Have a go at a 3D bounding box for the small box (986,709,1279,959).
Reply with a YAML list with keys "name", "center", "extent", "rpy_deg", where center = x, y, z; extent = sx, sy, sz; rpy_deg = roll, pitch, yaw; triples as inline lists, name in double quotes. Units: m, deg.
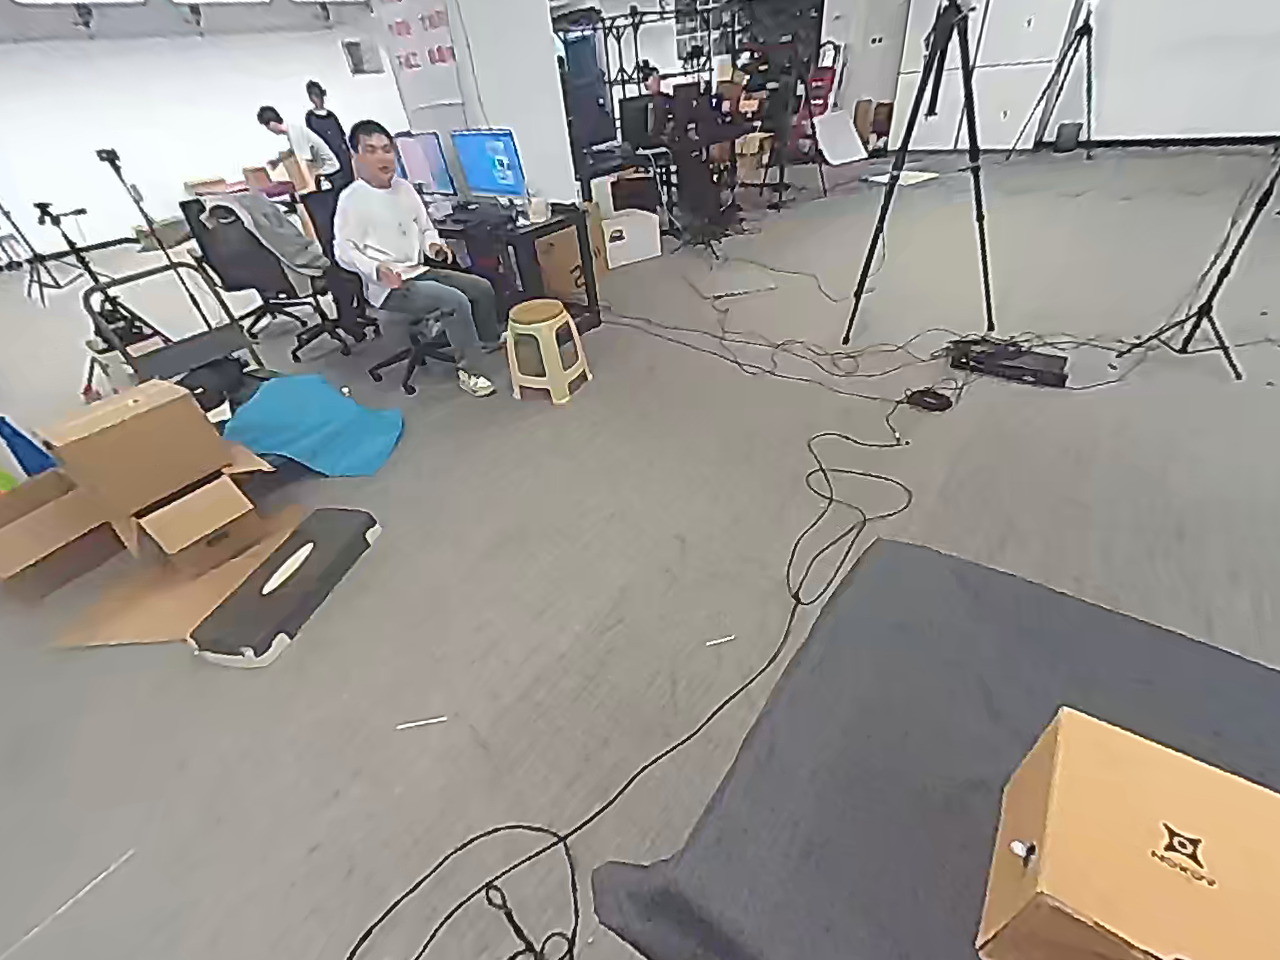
- name: "small box"
  center: [0.418, 0.344, 0.457]
  extent: [0.168, 0.176, 0.179]
  rpy_deg: [20, 45, 30]
